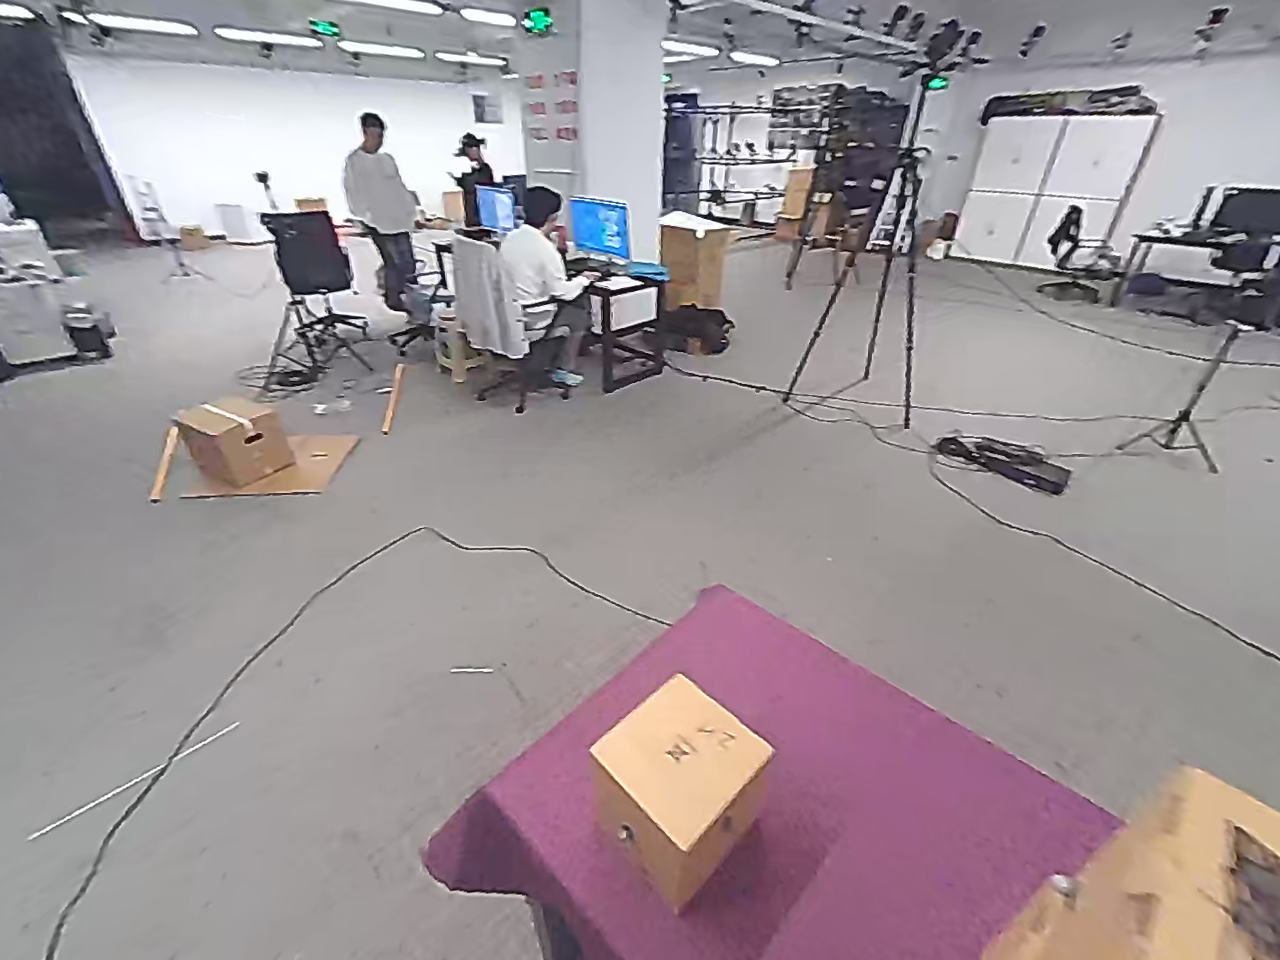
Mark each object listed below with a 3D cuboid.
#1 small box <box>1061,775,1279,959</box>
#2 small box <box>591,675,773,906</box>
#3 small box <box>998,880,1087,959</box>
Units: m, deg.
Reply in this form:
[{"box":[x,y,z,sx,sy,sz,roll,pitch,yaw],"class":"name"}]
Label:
[{"box":[0.339,0.311,0.278,0.168,0.176,0.179,-25,41,-35],"class":"small box"},{"box":[0.054,0.412,0.727,0.179,0.176,0.168,-26,42,-36],"class":"small box"},{"box":[0.332,0.446,0.373,0.168,0.176,0.179,-25,40,-34],"class":"small box"}]
